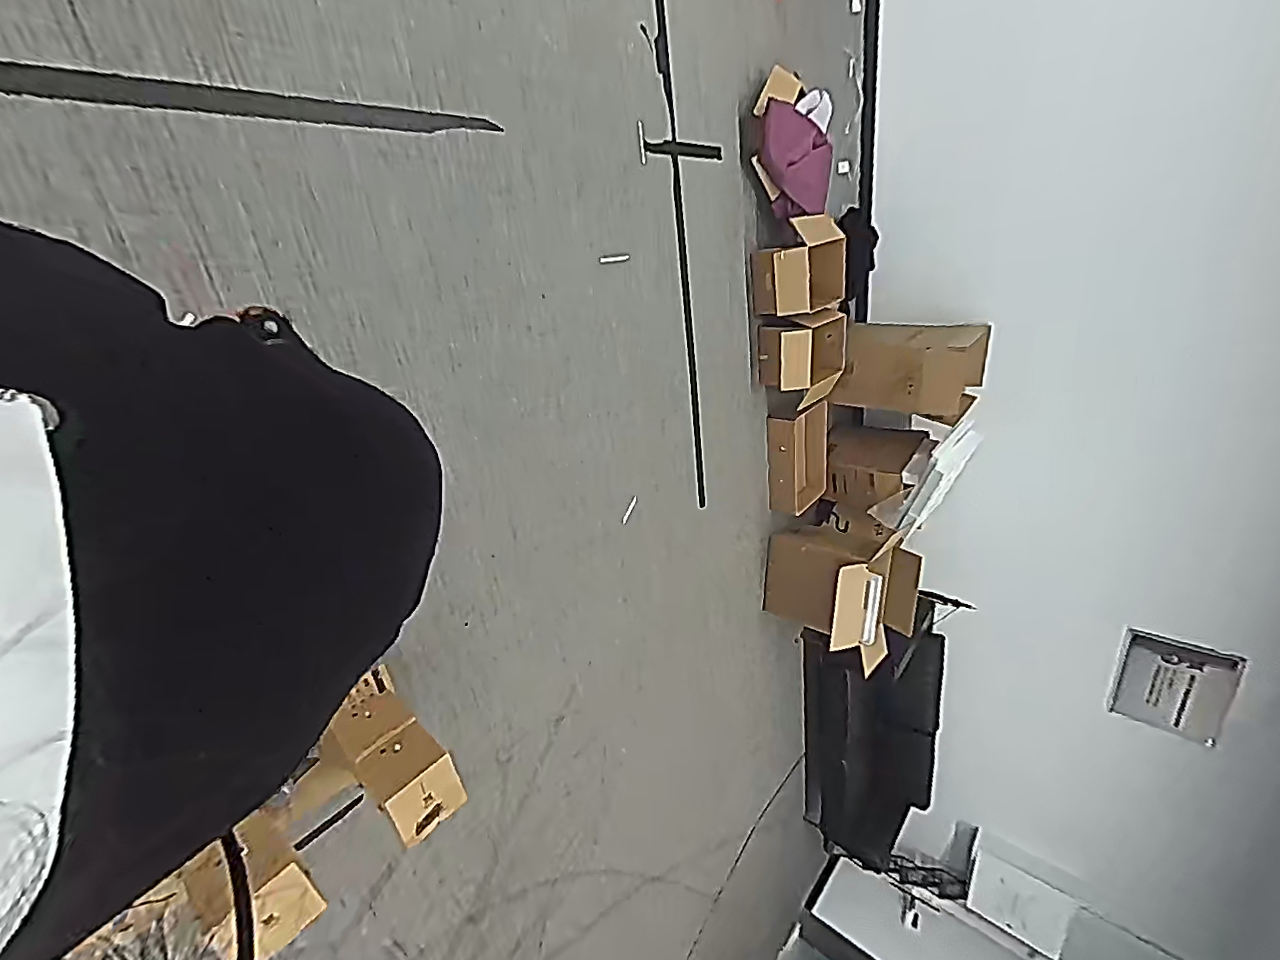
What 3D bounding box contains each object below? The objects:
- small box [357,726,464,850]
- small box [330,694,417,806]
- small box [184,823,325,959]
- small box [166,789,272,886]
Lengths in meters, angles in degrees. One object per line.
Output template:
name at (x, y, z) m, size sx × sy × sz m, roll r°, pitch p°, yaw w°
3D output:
small box at (-0.577, 0.764, 1.361) m, size 0.168 × 0.176 × 0.179 m, roll -31°, pitch 122°, yaw -40°
small box at (-0.701, 0.719, 1.460) m, size 0.168 × 0.176 × 0.179 m, roll -29°, pitch 121°, yaw -41°
small box at (-0.806, 0.873, 1.134) m, size 0.168 × 0.176 × 0.179 m, roll -35°, pitch 125°, yaw -39°
small box at (-0.935, 0.847, 1.233) m, size 0.168 × 0.176 × 0.179 m, roll -32°, pitch 122°, yaw -42°
